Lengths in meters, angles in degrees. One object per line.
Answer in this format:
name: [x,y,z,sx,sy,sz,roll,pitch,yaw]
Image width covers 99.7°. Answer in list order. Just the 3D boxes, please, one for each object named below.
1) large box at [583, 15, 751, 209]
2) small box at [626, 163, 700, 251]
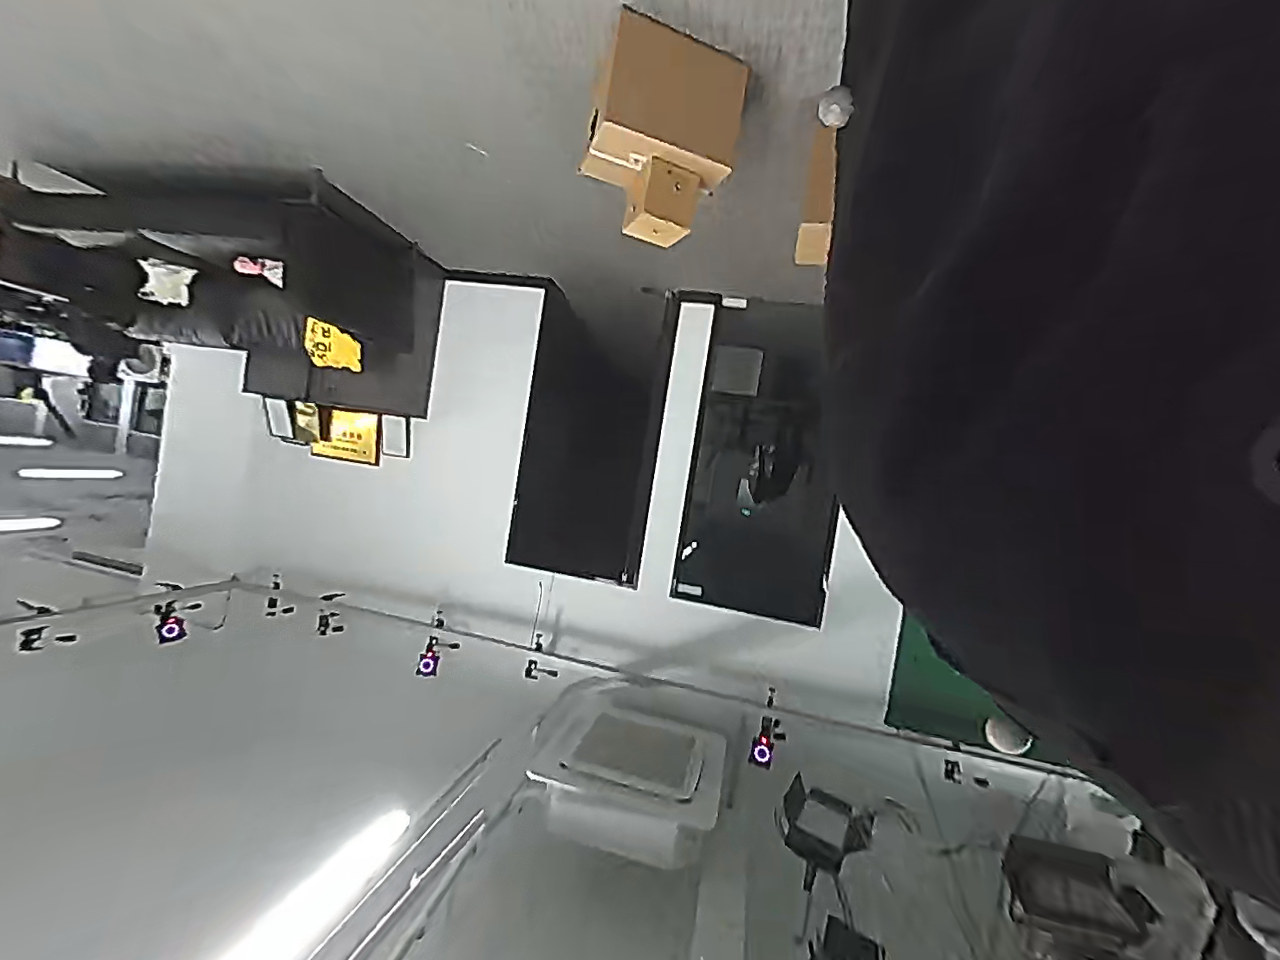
large box: [0.074,-1.094,1.658,0.408,0.320,0.320,10,180,-19]
small box: [0.073,-0.847,1.686,0.168,0.176,0.179,9,-178,-23]
